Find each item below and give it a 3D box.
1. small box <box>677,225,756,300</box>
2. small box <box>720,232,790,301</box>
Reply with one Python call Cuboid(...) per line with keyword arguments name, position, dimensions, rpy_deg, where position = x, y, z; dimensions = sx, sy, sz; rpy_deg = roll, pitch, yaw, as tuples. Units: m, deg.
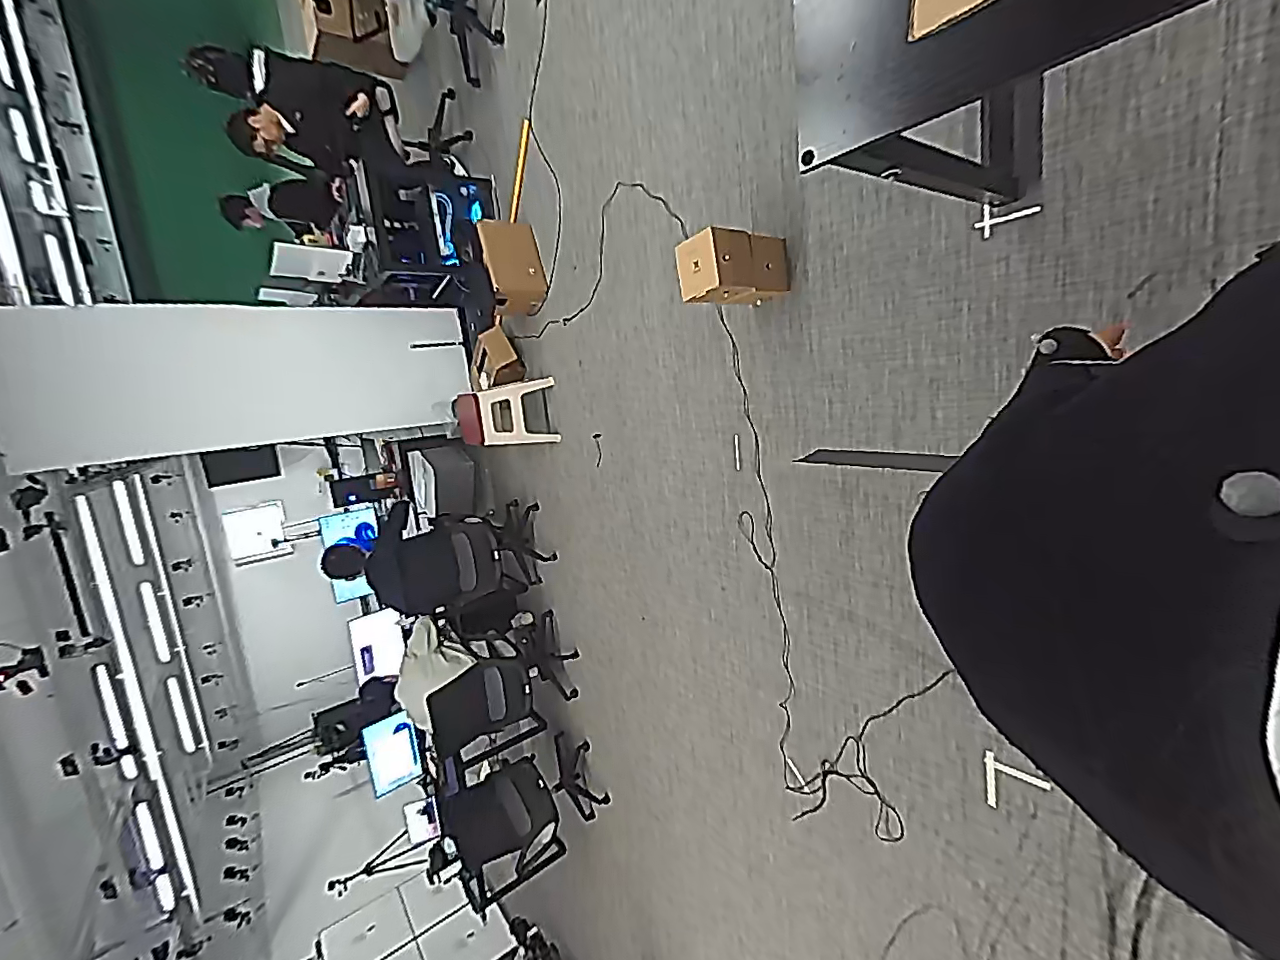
Cuboid(name="small box", position=(0.242, -0.672, 1.687), dimensions=(0.168, 0.176, 0.179), rpy_deg=(-3, 97, 54))
Cuboid(name="small box", position=(0.373, -0.696, 1.782), dimensions=(0.168, 0.176, 0.179), rpy_deg=(2, 102, 54))
